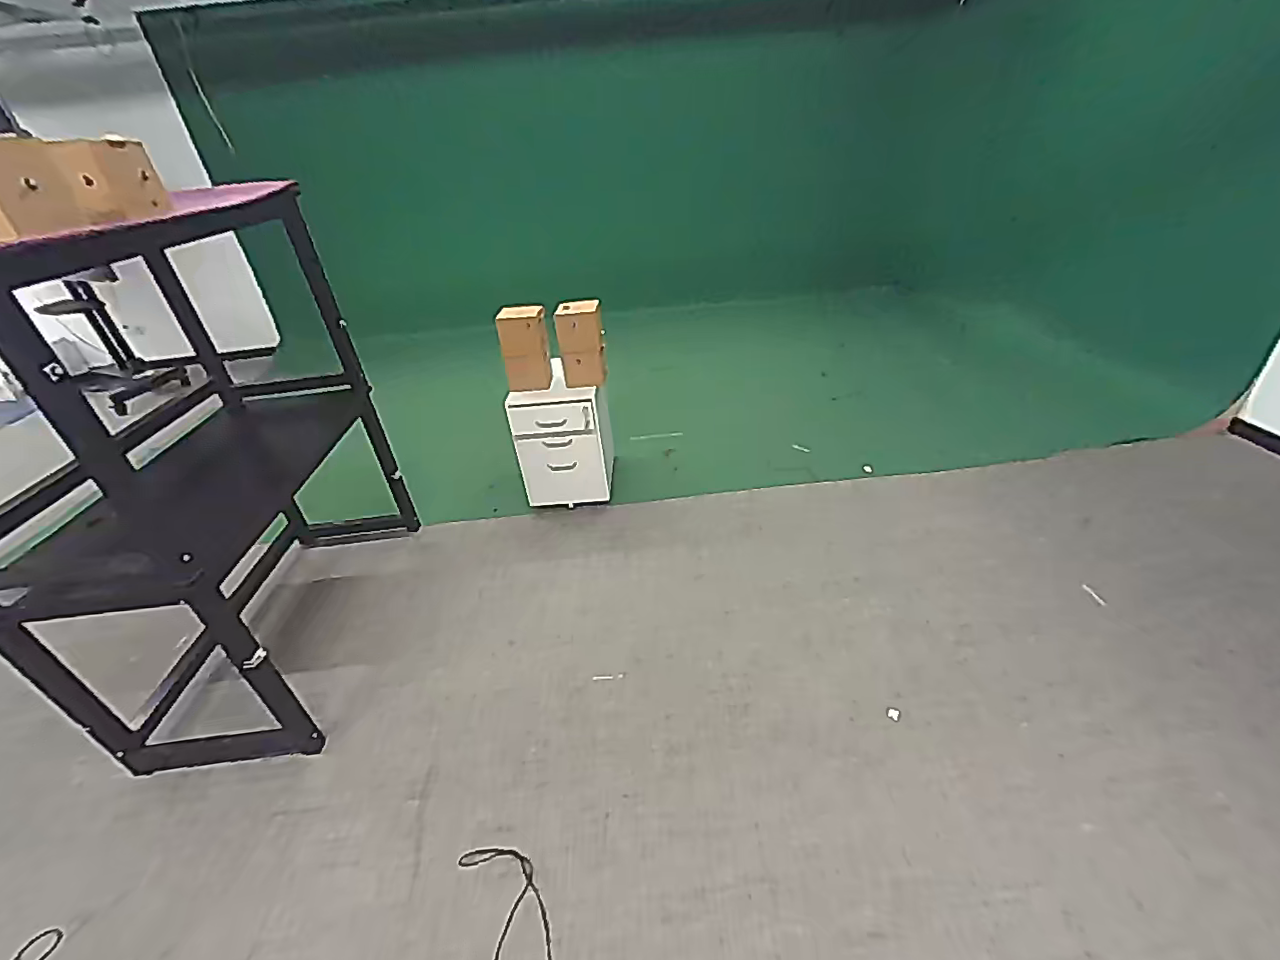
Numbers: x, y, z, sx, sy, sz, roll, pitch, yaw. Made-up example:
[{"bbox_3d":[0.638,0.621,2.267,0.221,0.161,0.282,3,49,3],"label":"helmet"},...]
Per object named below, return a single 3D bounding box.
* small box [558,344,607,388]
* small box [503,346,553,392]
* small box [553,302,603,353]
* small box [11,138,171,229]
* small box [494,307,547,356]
[{"bbox_3d":[-0.253,-0.520,2.421,0.179,0.176,0.168,-3,34,5],"label":"small box"},{"bbox_3d":[-0.503,-0.506,2.444,0.179,0.176,0.168,-4,33,2],"label":"small box"},{"bbox_3d":[-0.263,-0.655,2.327,0.179,0.176,0.168,-3,33,5],"label":"small box"},{"bbox_3d":[-1.299,-0.714,1.299,0.179,0.176,0.168,-6,32,1],"label":"small box"},{"bbox_3d":[-0.515,-0.644,2.356,0.179,0.176,0.168,-2,33,2],"label":"small box"}]
